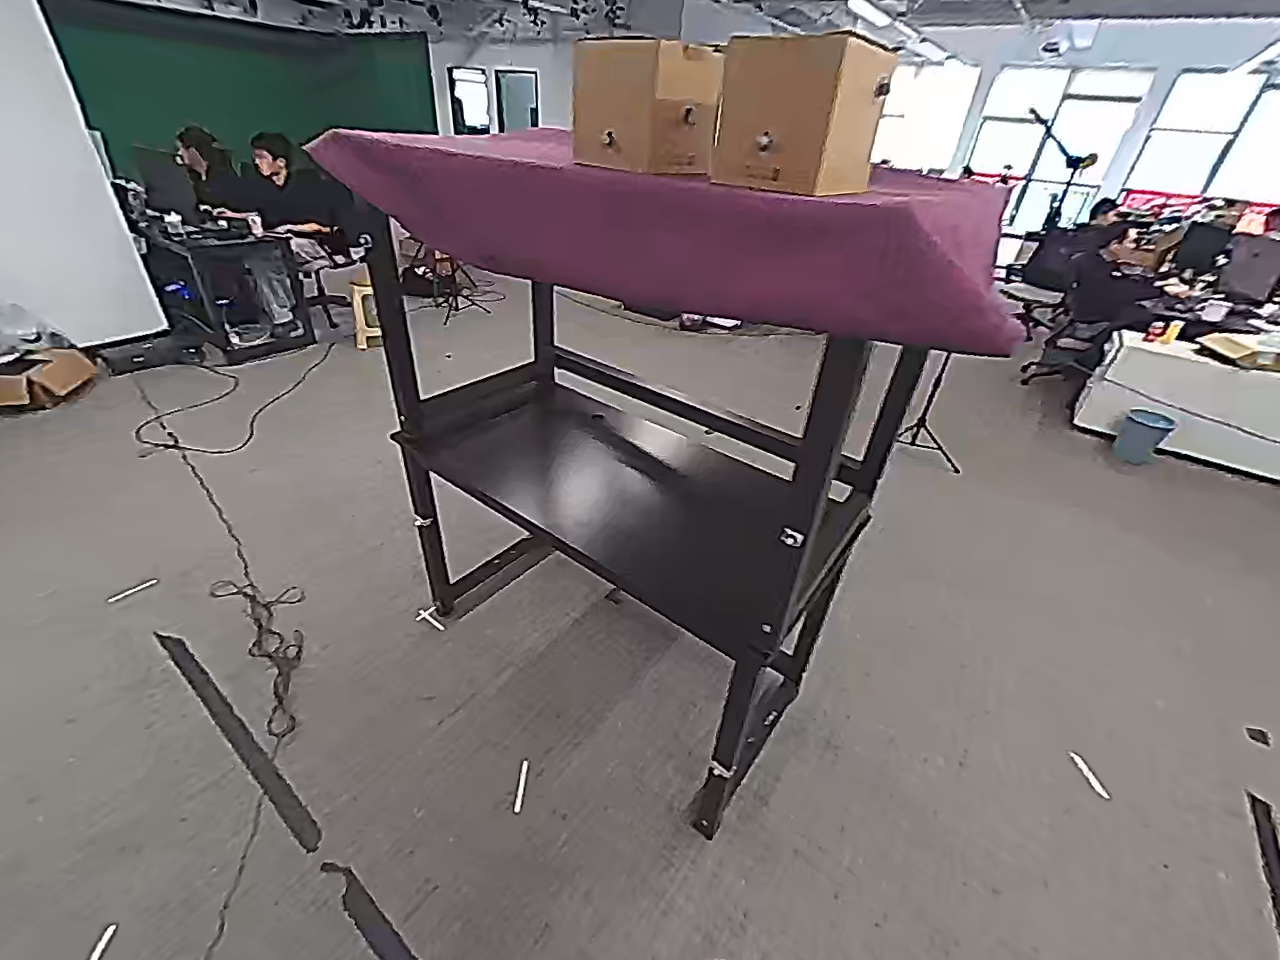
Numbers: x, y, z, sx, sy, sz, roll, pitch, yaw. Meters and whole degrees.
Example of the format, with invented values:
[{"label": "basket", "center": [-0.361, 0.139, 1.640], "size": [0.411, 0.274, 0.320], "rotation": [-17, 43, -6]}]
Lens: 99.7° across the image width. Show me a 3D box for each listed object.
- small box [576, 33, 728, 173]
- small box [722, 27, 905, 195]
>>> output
[{"label": "small box", "center": [0.014, -0.597, 0.868], "size": [0.179, 0.176, 0.168], "rotation": [29, 40, 31]}, {"label": "small box", "center": [0.229, -0.496, 0.741], "size": [0.168, 0.176, 0.179], "rotation": [27, 39, 32]}]
